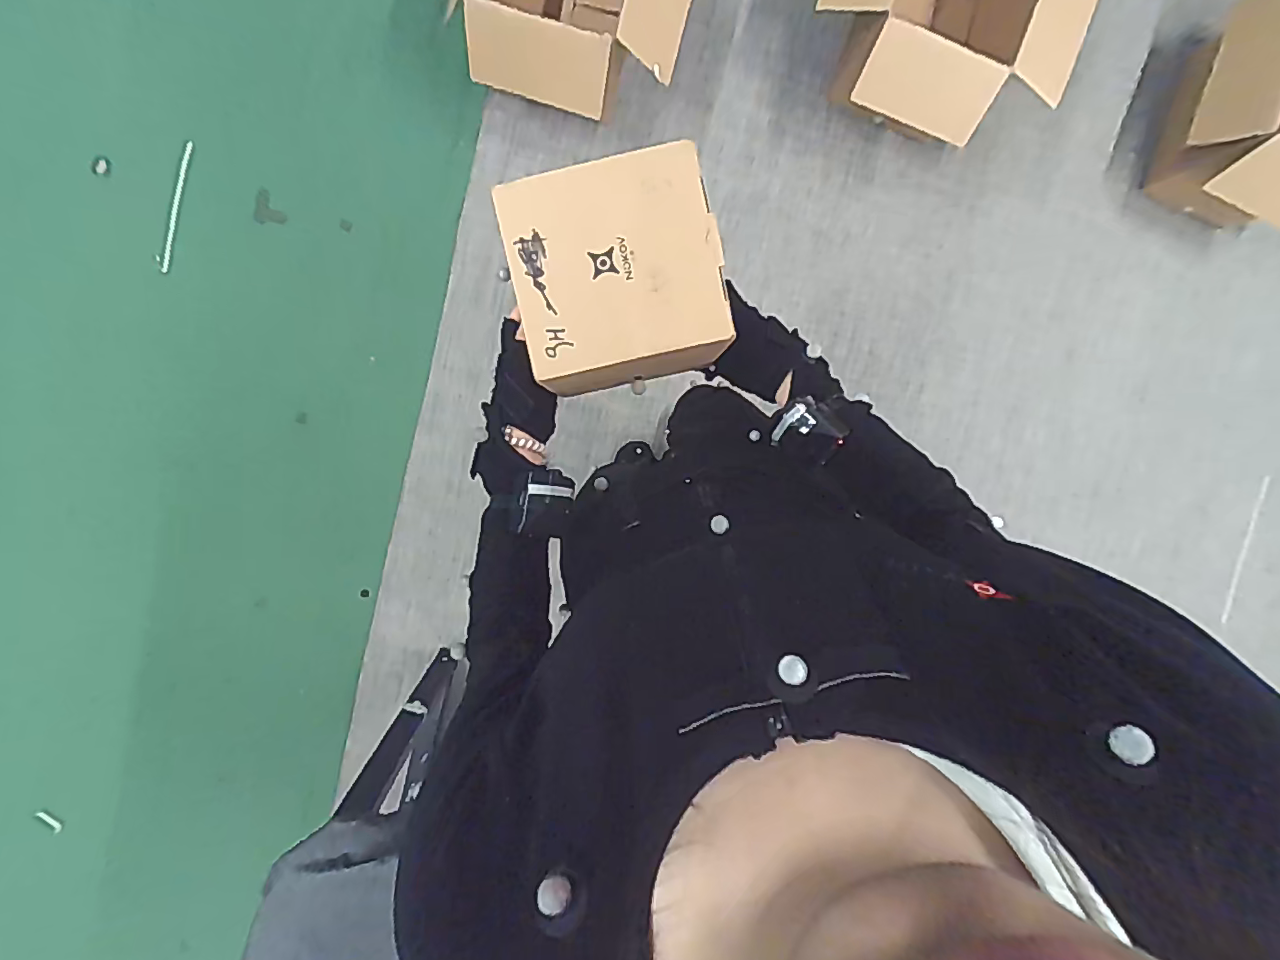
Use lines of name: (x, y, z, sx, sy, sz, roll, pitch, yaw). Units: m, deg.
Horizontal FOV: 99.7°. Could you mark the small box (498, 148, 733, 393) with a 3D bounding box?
small box: (-0.022, -0.188, 0.535, 0.179, 0.176, 0.168, -12, 93, 0)
